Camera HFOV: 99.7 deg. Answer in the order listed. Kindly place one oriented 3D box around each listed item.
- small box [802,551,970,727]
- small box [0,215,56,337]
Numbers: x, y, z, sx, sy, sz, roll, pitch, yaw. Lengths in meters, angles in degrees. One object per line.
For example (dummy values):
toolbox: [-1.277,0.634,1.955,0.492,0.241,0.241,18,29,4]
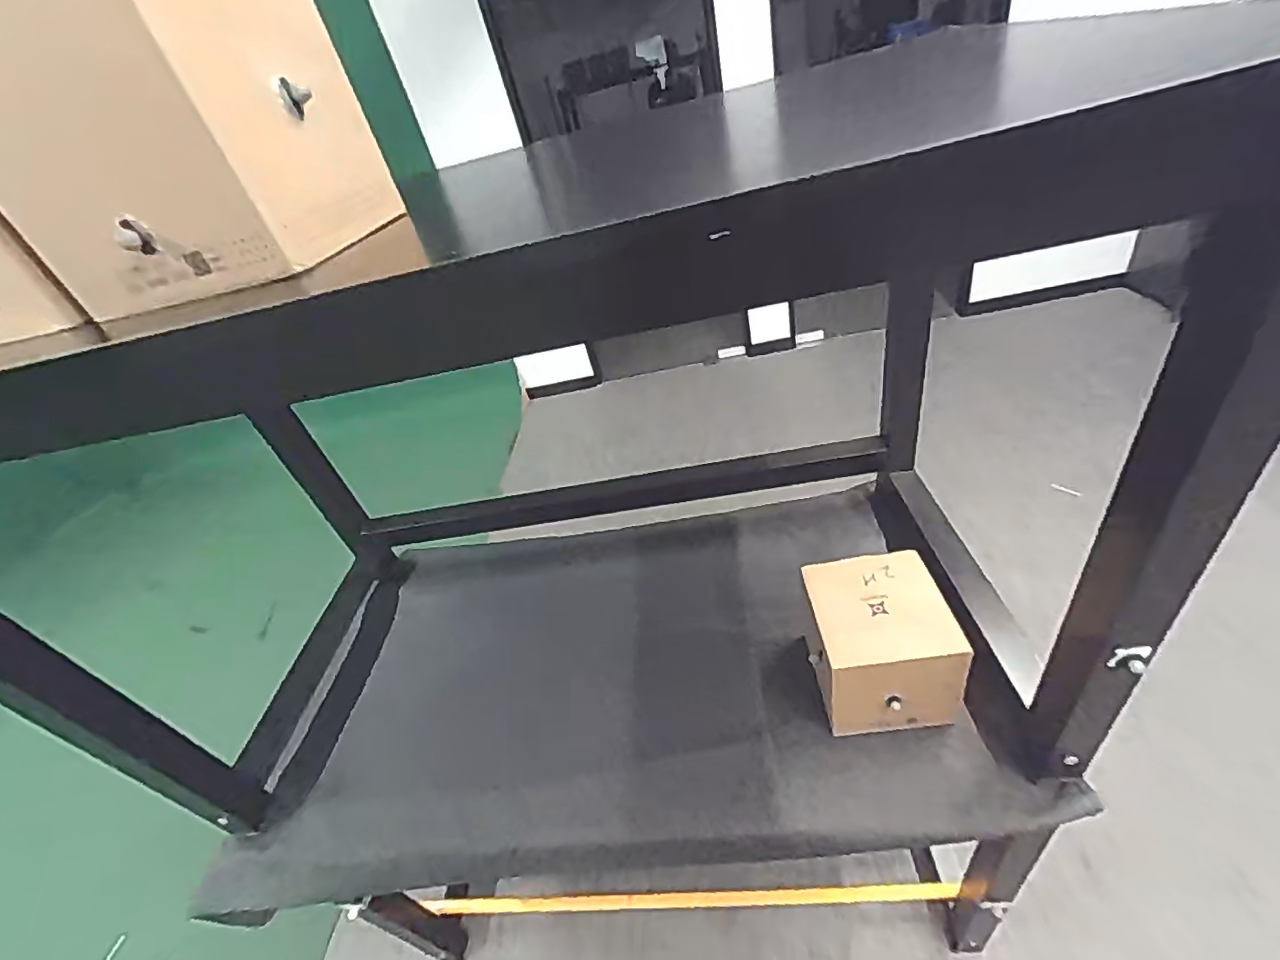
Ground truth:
small box: [0.336,0.231,0.768,0.168,0.176,0.179,-10,36,8]
small box: [-0.665,-0.178,0.446,0.168,0.176,0.179,-10,38,8]
